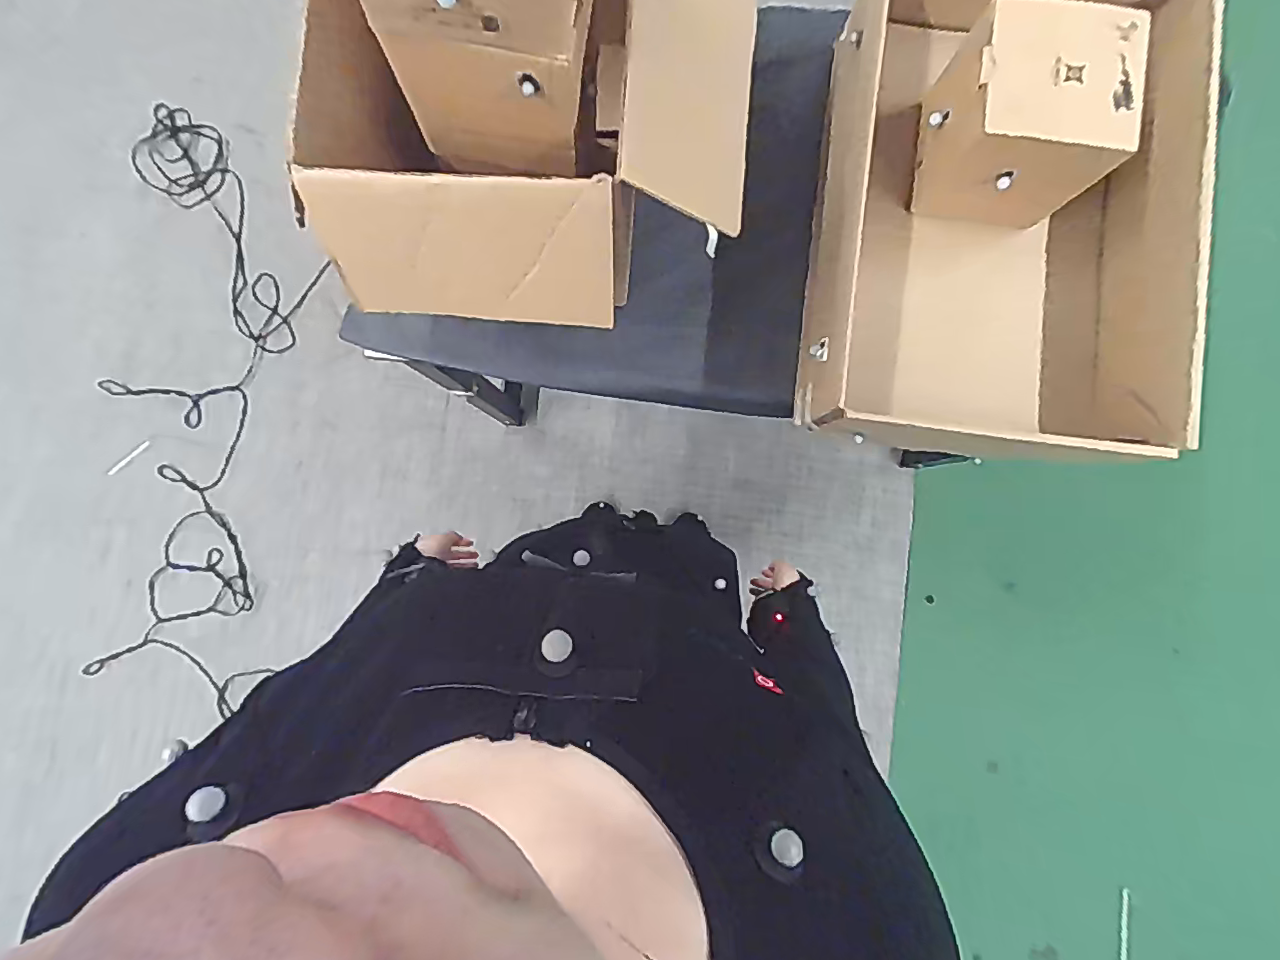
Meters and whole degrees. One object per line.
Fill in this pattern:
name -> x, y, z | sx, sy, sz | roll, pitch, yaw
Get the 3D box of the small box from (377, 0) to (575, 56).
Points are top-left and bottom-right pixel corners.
small box -> -0.127, -0.465, 0.389 | 0.168, 0.176, 0.179 | 5, 86, -5
